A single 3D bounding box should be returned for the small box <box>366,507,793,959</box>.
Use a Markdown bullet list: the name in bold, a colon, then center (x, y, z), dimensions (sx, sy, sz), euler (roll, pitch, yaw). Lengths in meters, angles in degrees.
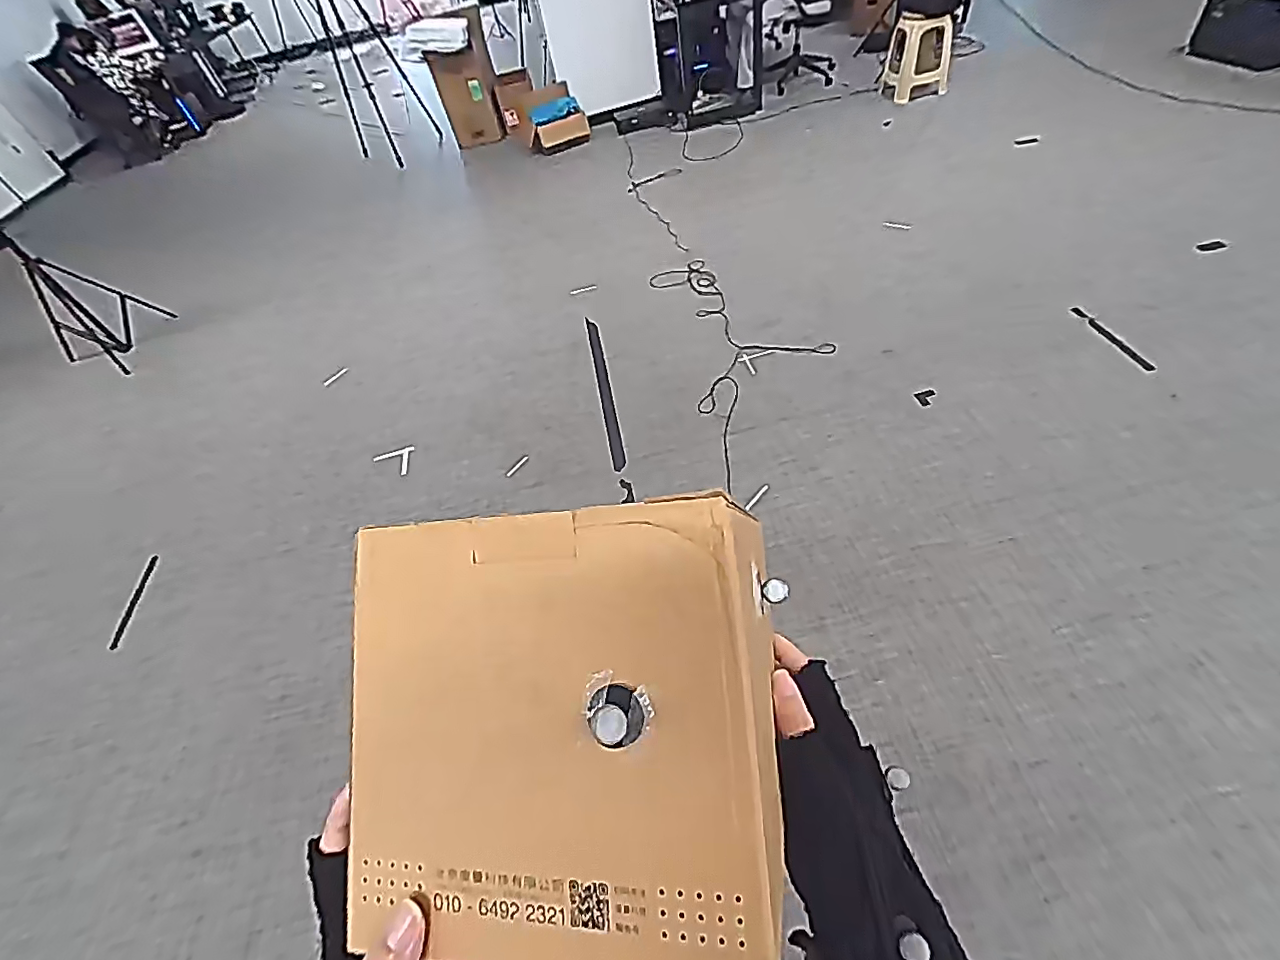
- **small box**: center (-0.013, 0.112, 0.285), dimensions (0.168, 0.179, 0.176), euler (-6, 81, 16)
